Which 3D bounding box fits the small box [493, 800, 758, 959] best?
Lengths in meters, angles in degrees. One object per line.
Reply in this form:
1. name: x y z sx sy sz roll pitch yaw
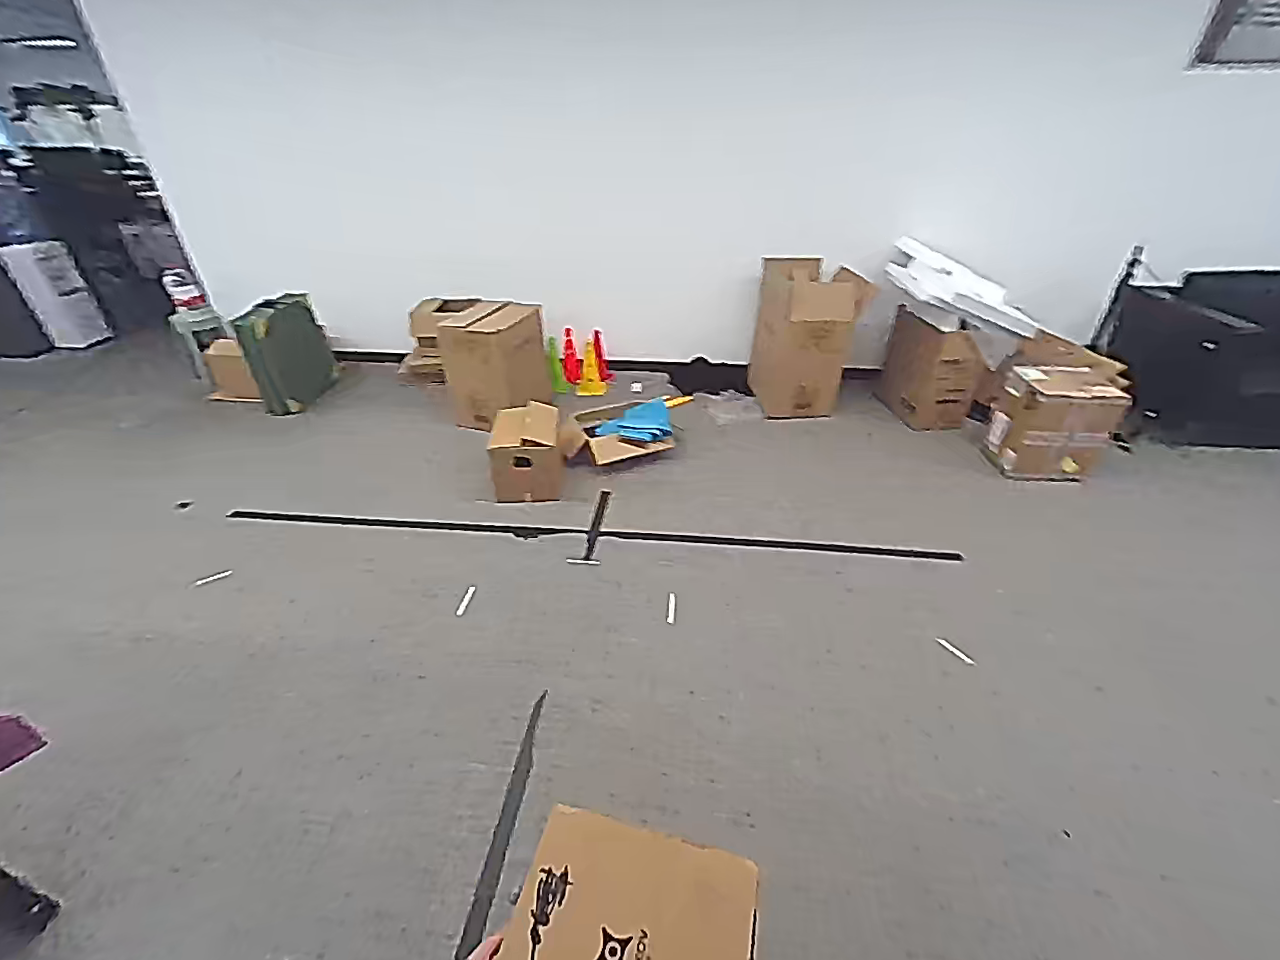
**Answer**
1. small box: -0.012 0.393 0.424 0.179 0.176 0.168 8 36 12
